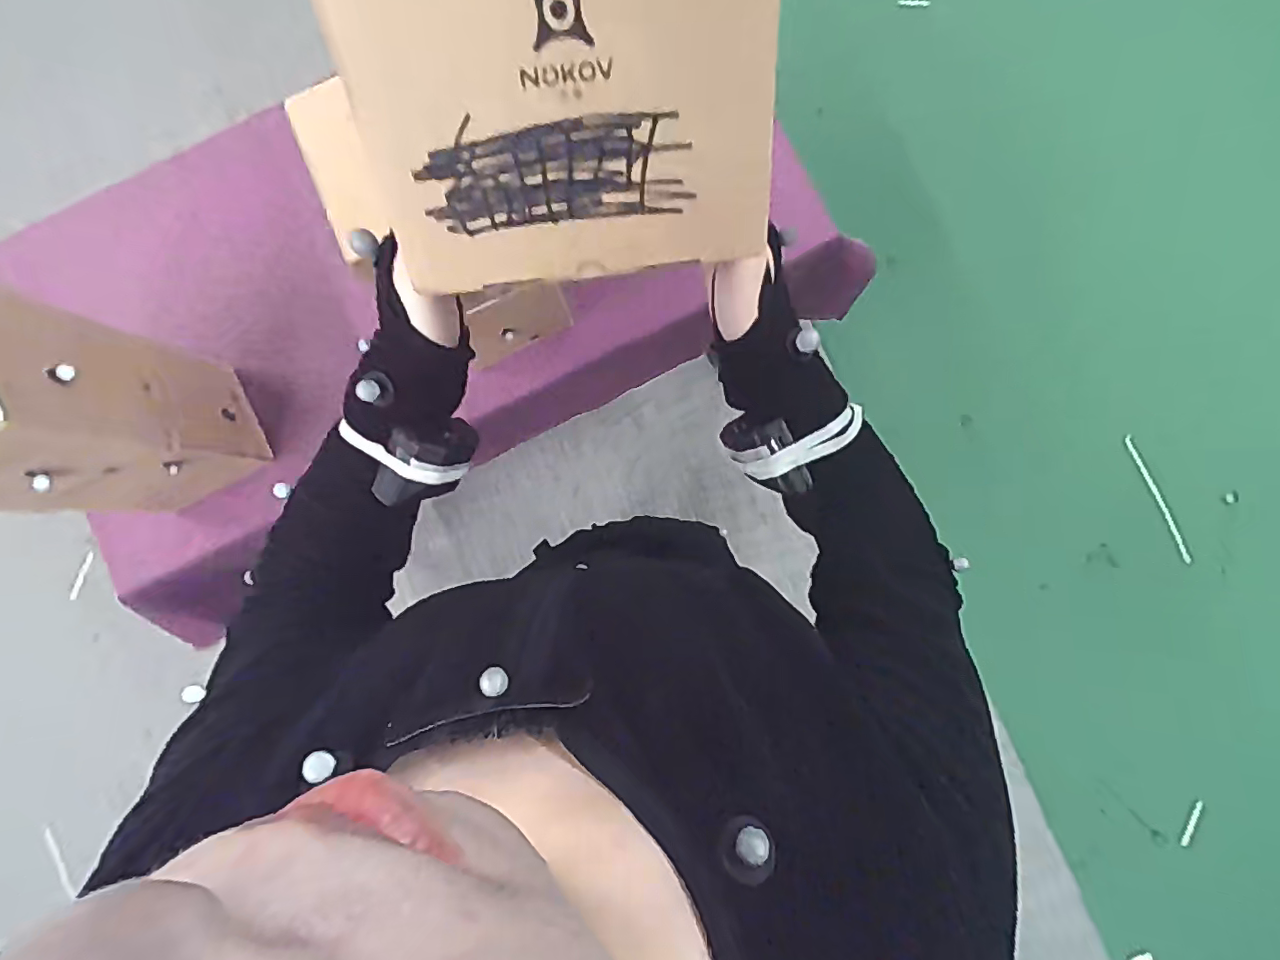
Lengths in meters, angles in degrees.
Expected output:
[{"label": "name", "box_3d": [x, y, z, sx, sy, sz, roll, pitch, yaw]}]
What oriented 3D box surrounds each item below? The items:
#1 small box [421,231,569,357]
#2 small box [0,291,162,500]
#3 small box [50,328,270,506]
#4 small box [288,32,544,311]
[{"label": "small box", "box_3d": [-0.211, -0.286, 0.739, 0.168, 0.176, 0.179, -25, 85, 0]}, {"label": "small box", "box_3d": [-0.679, -0.087, 0.580, 0.168, 0.176, 0.179, -28, 85, -1]}, {"label": "small box", "box_3d": [-0.667, -0.073, 0.743, 0.179, 0.176, 0.168, -28, 85, -1]}, {"label": "small box", "box_3d": [-0.219, -0.303, 0.576, 0.168, 0.176, 0.179, -23, 85, 0]}]
